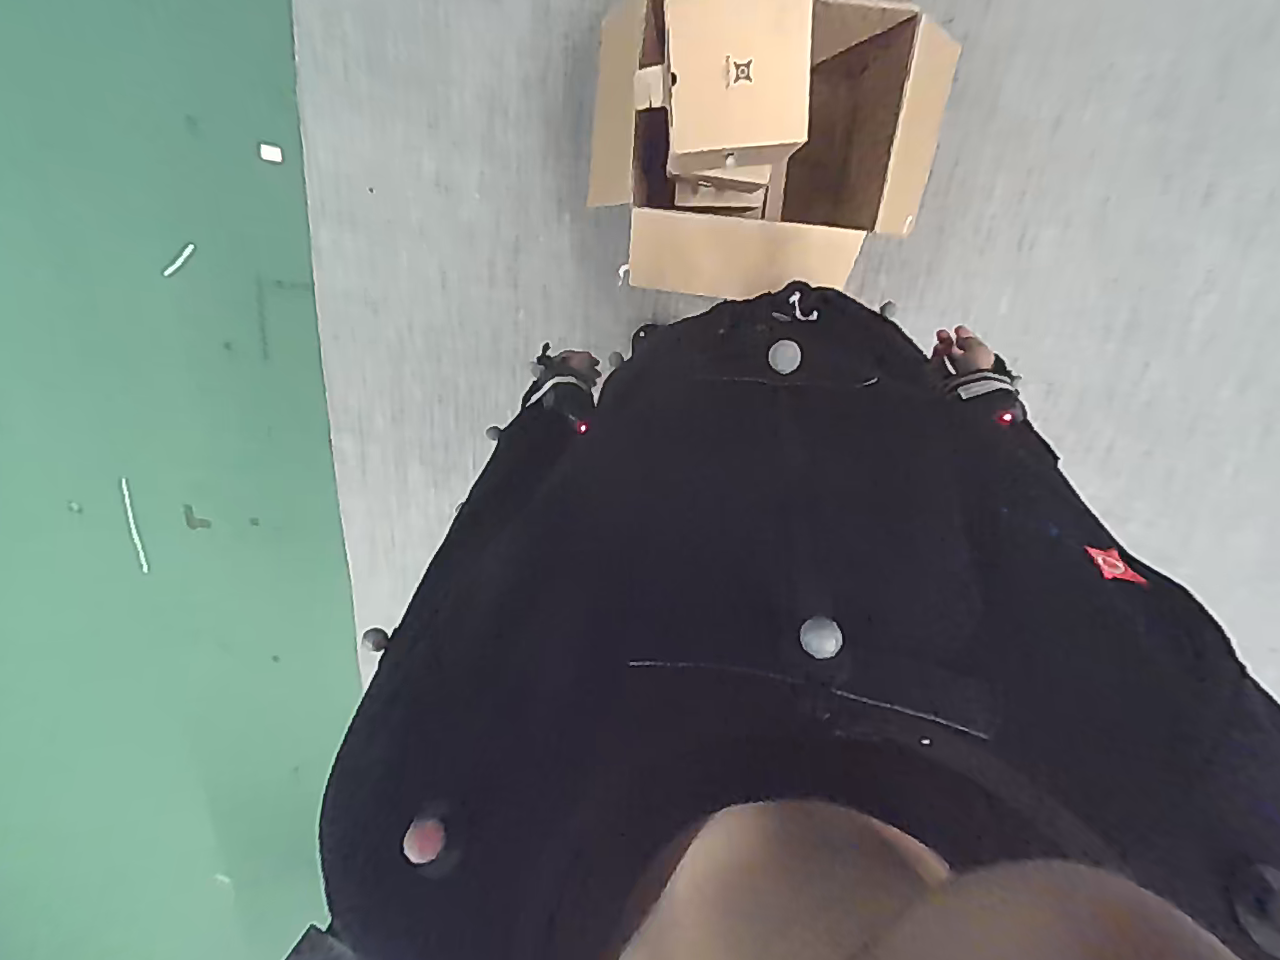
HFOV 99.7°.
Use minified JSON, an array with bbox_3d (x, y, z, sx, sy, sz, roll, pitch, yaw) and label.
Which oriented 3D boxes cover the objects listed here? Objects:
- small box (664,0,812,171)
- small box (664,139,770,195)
[{"bbox_3d":[0.124,-0.533,0.740,0.179,0.176,0.168,-3,112,5],"label":"small box"},{"bbox_3d":[0.132,-0.587,0.893,0.168,0.176,0.179,9,114,-1],"label":"small box"}]
